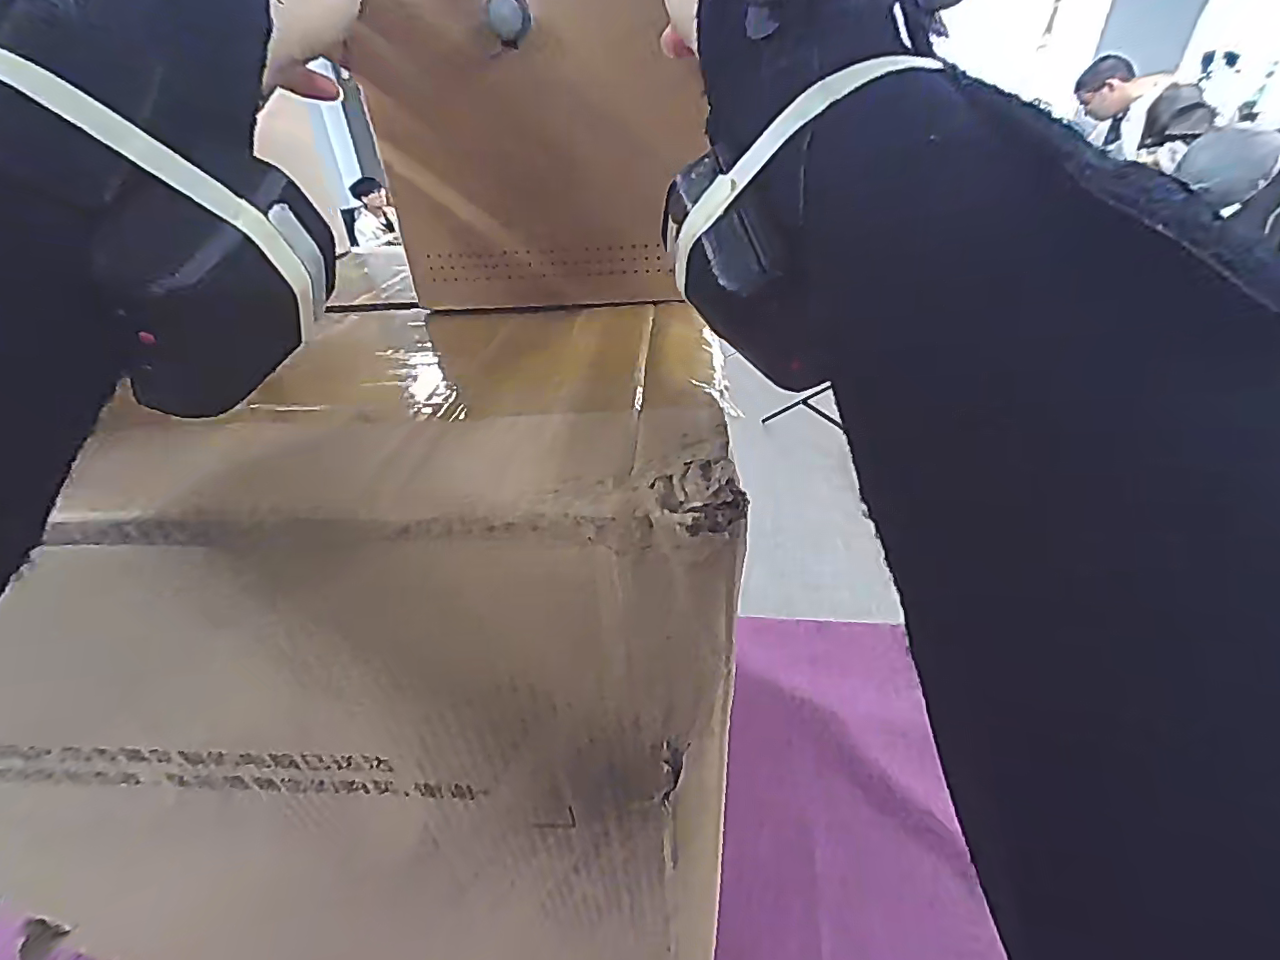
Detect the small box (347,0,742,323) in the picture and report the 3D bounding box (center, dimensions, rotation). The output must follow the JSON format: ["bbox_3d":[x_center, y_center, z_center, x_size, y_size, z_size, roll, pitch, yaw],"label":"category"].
[{"bbox_3d":[-0.033,-0.204,0.330,0.179,0.176,0.168,0,34,7],"label":"small box"}]
